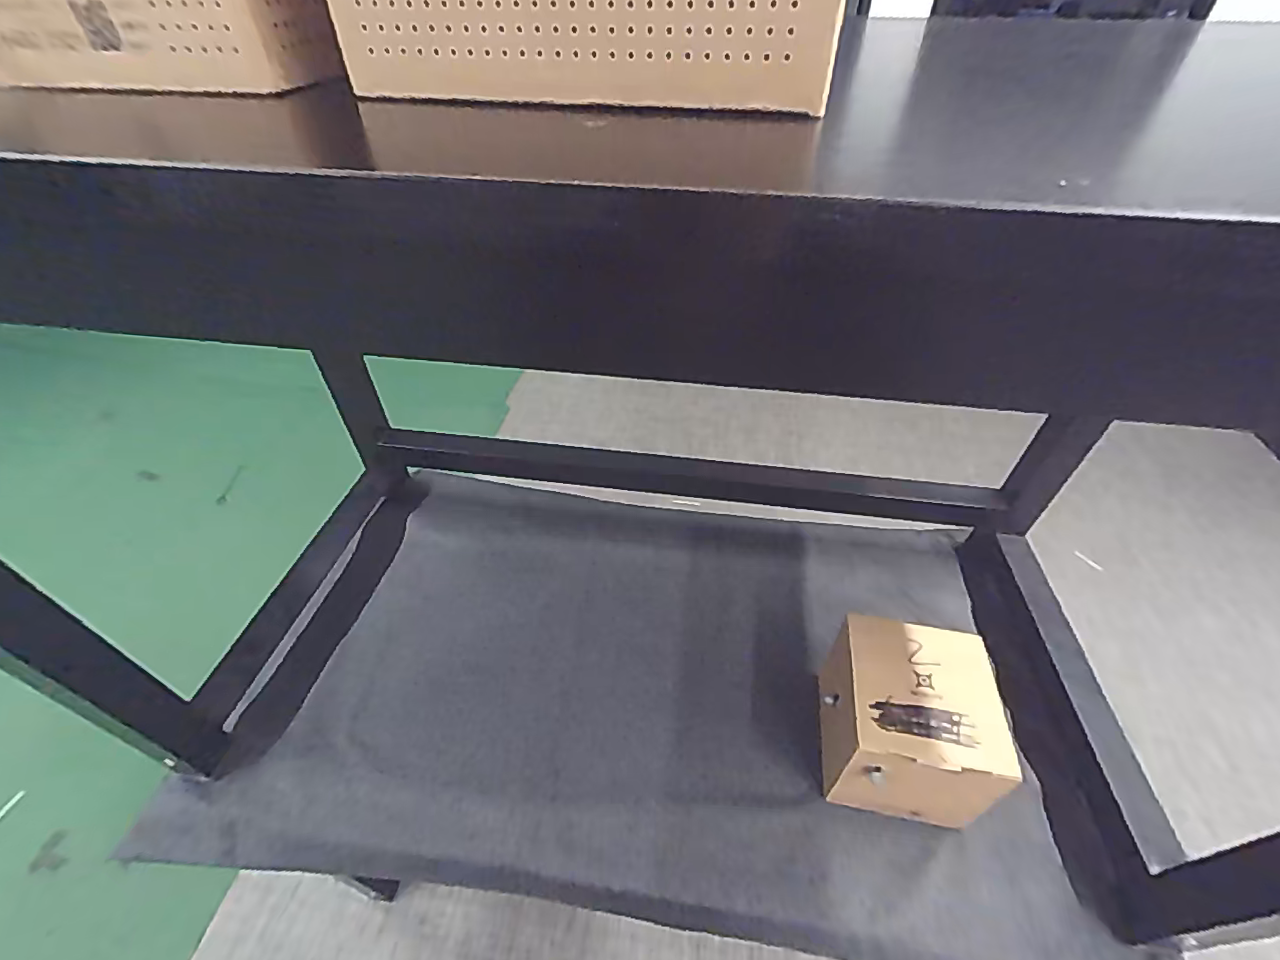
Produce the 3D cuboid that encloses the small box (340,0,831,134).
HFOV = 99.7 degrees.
[{"bbox_3d":[-0.011,-0.242,0.201,0.179,0.176,0.168,9,44,8],"label":"small box"}]
